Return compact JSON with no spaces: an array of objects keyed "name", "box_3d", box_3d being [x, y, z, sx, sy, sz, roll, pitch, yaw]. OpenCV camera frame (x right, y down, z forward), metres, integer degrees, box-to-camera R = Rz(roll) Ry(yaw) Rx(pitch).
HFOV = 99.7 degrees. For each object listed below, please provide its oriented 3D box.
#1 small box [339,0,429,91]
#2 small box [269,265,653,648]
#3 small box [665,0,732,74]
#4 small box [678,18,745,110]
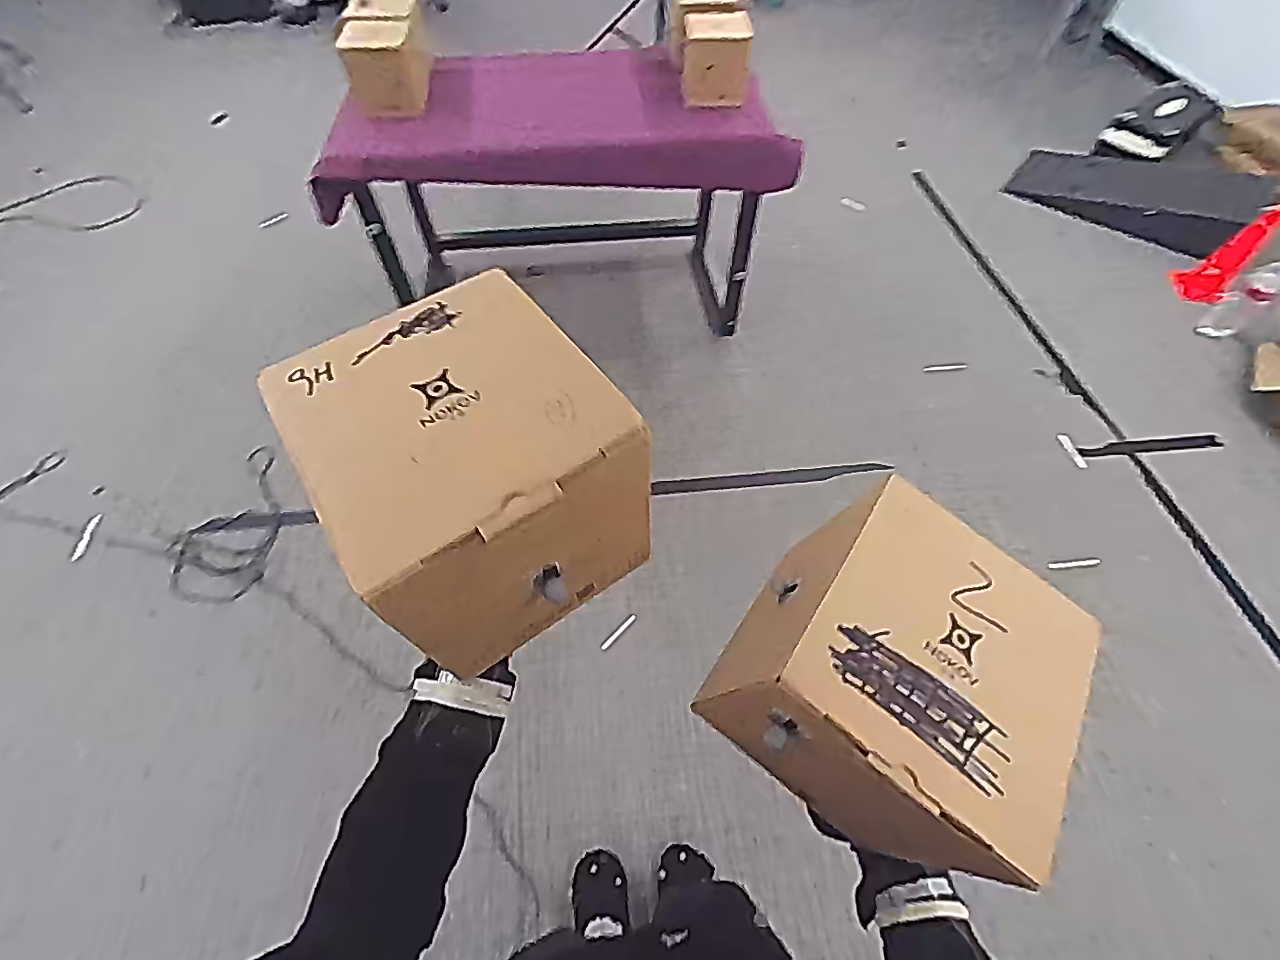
[{"name":"small box","box_3d":[-0.741,-1.269,1.582,0.179,0.176,0.168,-3,59,-4]},{"name":"small box","box_3d":[-0.104,-0.006,0.375,0.168,0.176,0.179,-33,62,-18]},{"name":"small box","box_3d":[0.172,-1.376,1.662,0.179,0.176,0.168,-4,58,-4]},{"name":"small box","box_3d":[0.199,-1.187,1.547,0.168,0.176,0.179,-2,56,-1]}]
